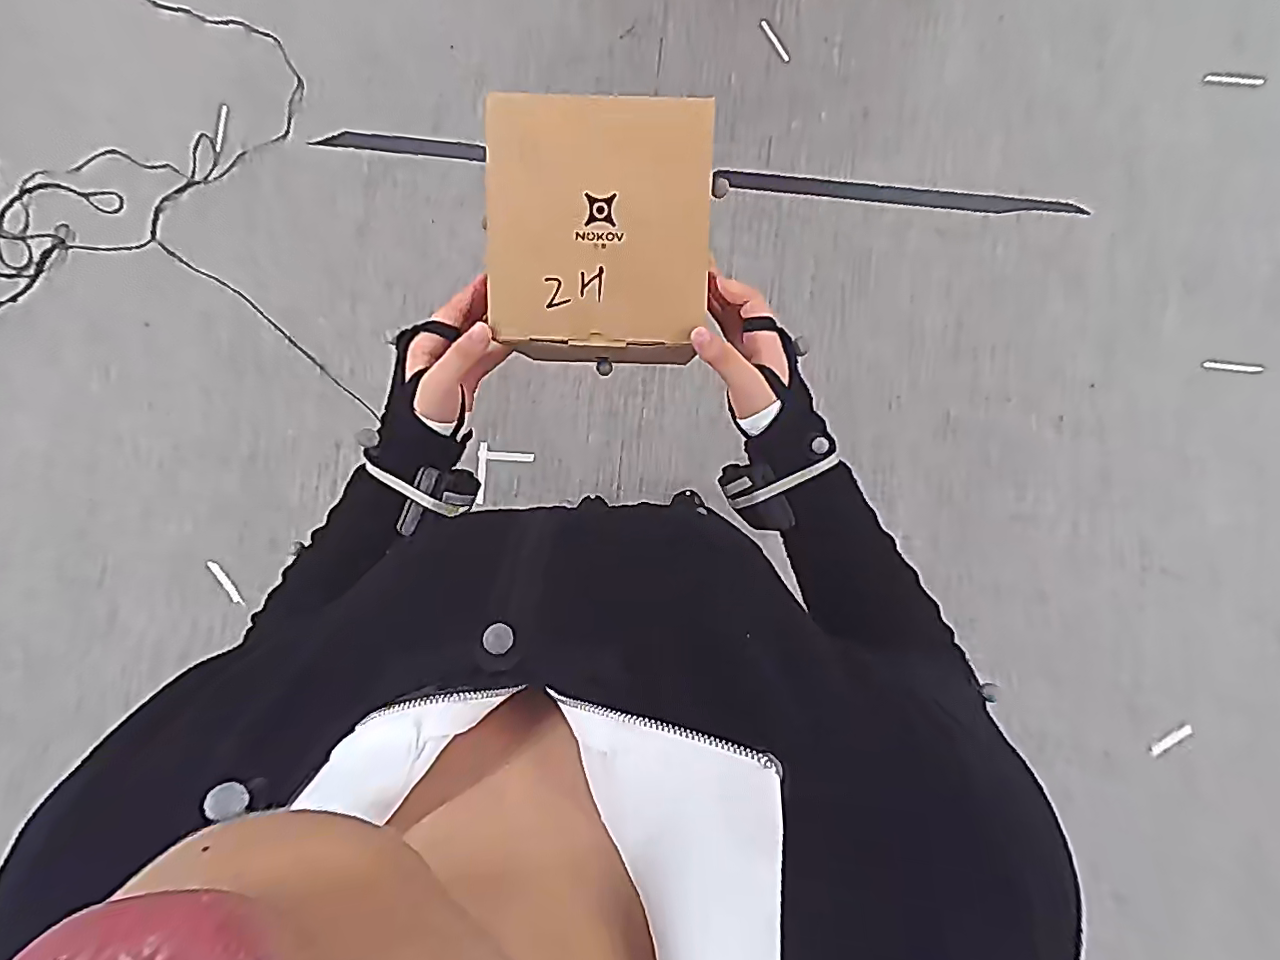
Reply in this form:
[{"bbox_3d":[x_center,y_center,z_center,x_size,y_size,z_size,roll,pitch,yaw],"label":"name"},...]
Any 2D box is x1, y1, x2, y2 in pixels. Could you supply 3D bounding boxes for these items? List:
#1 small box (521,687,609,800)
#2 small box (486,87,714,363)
[{"bbox_3d":[-0.173,0.626,1.302,0.168,0.176,0.179,10,88,2],"label":"small box"},{"bbox_3d":[-0.031,-0.203,0.479,0.168,0.176,0.179,2,97,1],"label":"small box"}]
